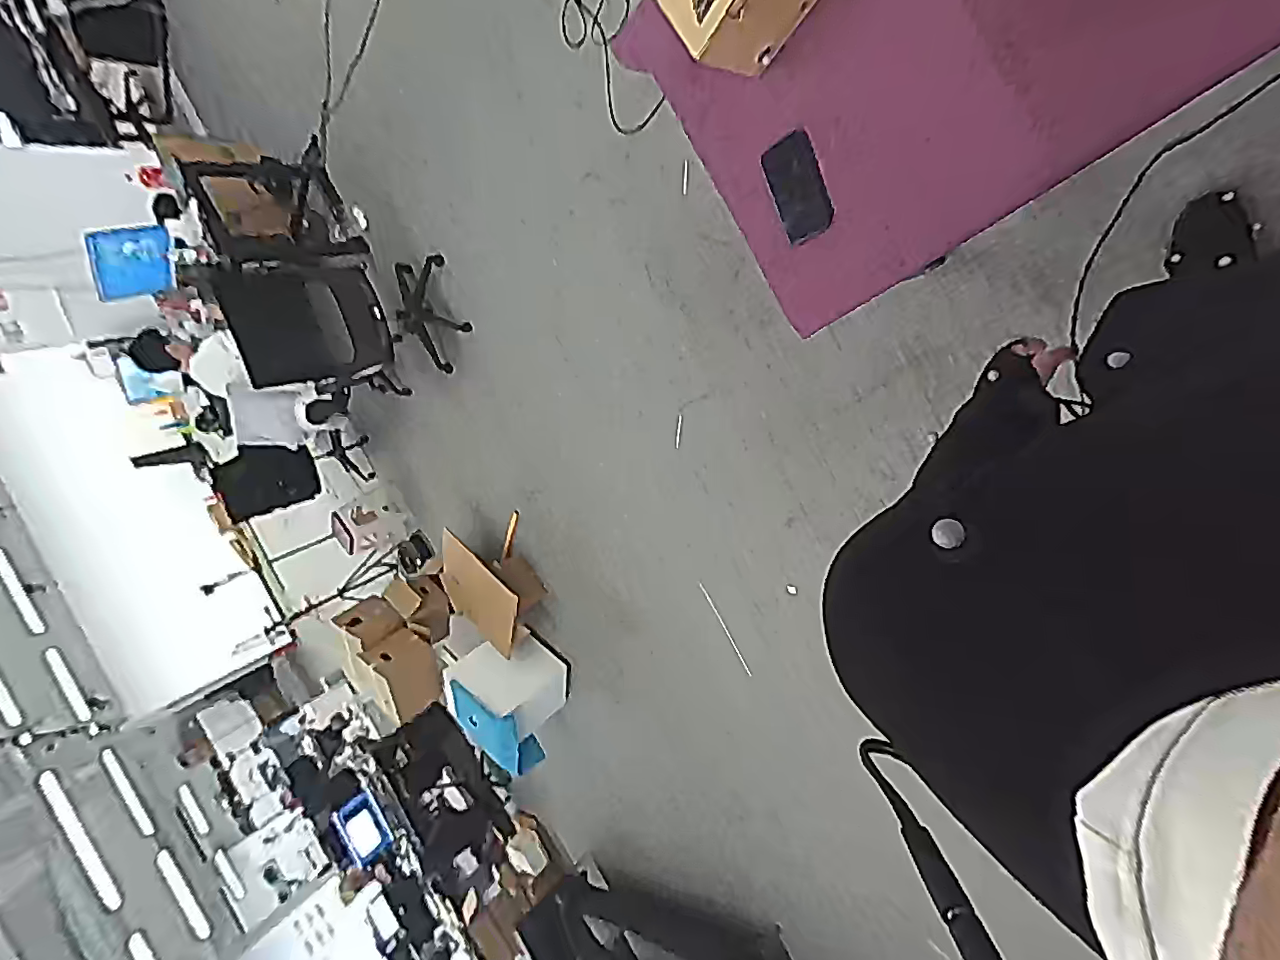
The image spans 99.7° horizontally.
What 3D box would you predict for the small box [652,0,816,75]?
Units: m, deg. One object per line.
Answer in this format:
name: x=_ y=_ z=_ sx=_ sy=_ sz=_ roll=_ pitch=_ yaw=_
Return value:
small box: x=0.127 y=-0.684 z=0.721 sx=0.168 sy=0.176 sz=0.179 roll=-35 pitch=84 yaw=46
